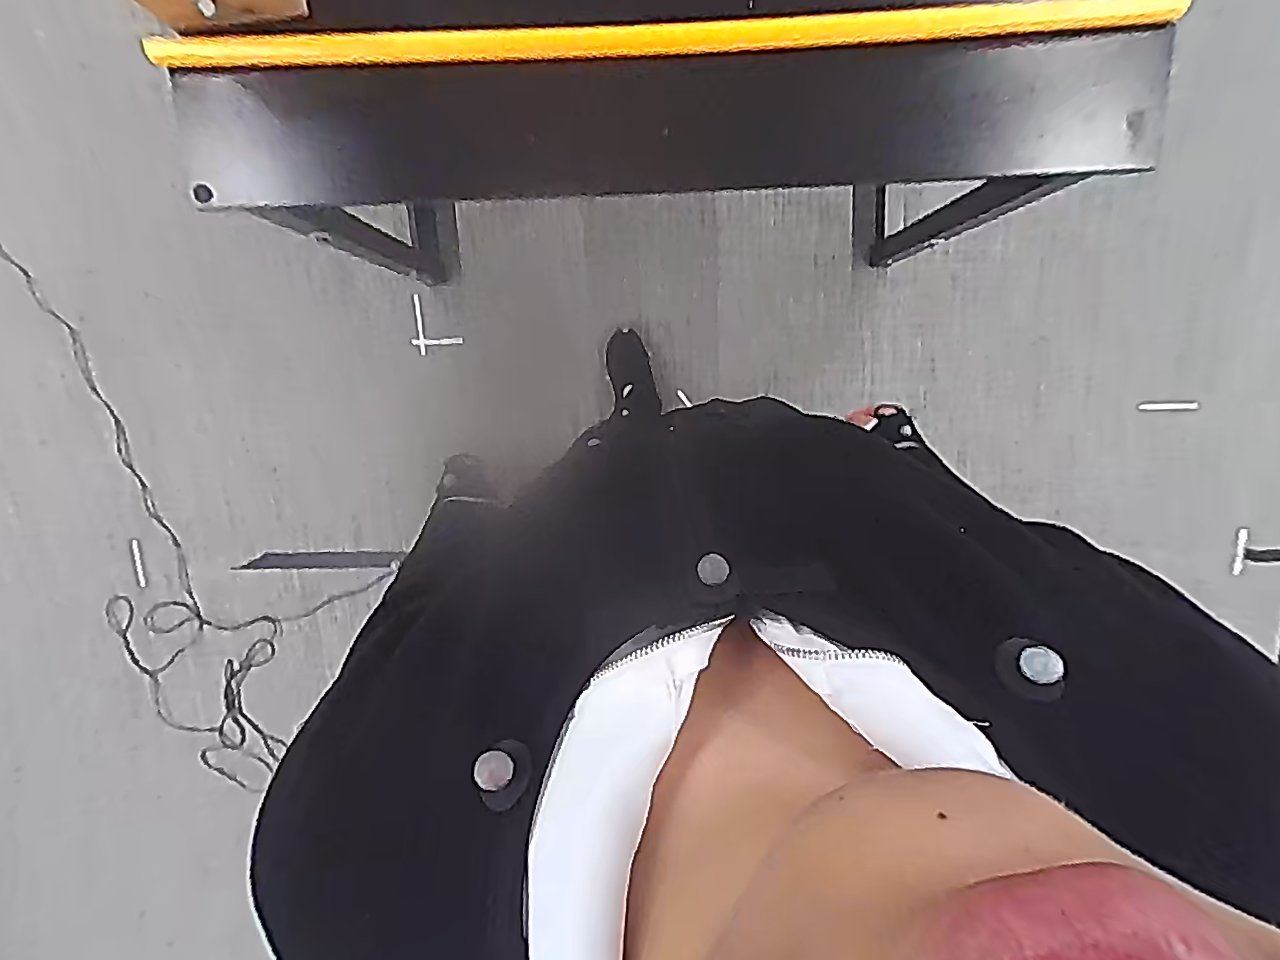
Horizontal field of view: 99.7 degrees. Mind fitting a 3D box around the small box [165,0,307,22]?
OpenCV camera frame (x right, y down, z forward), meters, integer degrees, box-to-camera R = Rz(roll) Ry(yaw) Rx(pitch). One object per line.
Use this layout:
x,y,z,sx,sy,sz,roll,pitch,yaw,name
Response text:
-0.479,-0.621,0.548,0.168,0.176,0.179,-6,102,1,small box
